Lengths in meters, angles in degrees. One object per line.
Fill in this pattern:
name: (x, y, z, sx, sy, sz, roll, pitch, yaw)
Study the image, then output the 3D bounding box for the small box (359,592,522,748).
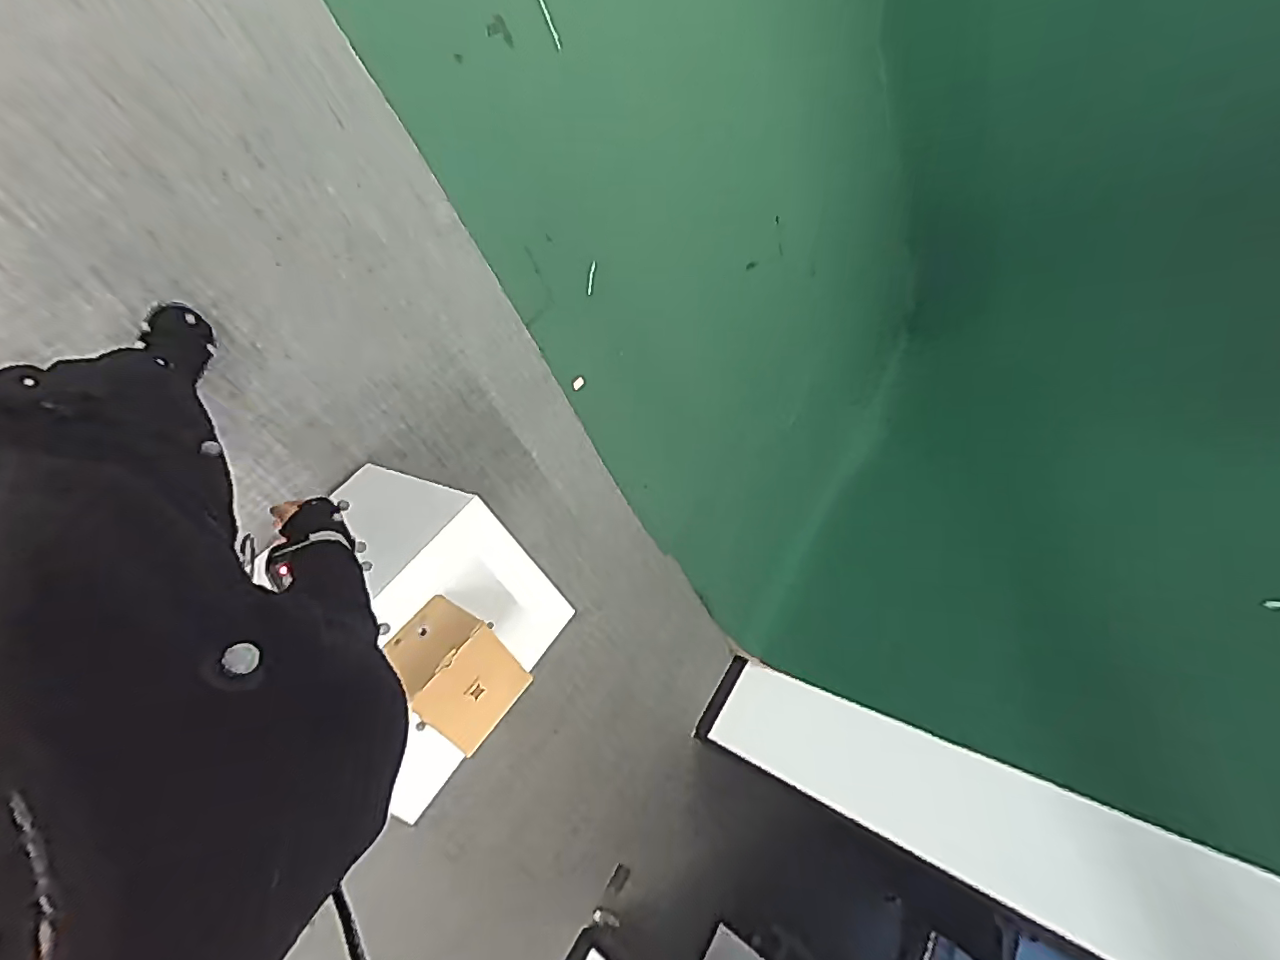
small box: (-0.350, 0.325, 0.953, 0.168, 0.176, 0.179, -49, 130, -29)
